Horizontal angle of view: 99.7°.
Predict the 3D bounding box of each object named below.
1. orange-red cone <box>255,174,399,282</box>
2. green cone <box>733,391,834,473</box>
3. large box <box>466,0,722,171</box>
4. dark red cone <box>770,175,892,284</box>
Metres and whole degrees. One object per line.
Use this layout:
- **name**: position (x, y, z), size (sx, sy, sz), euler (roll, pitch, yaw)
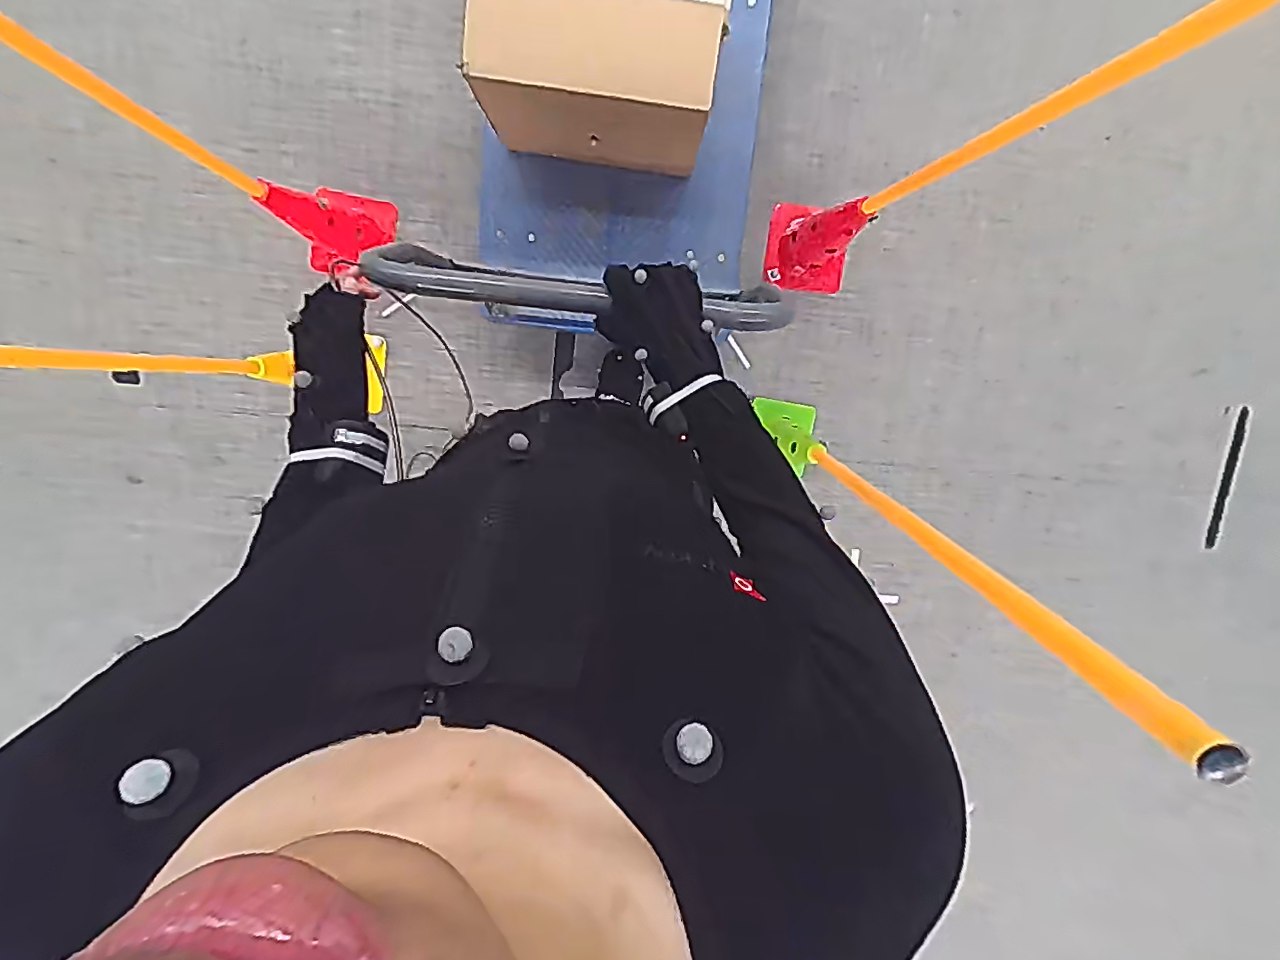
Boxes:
- **orange-red cone**: position (-0.704, -0.584, 1.177), size (0.198, 0.360, 0.199), euler (12, 99, -4)
- **green cone**: position (0.364, -0.094, 1.273), size (0.202, 0.368, 0.200), euler (9, 100, -3)
- **large box**: position (-0.066, -0.802, 0.992), size (0.408, 0.320, 0.320), euler (7, 101, -1)
- **dark red cone**: position (0.430, -0.564, 1.167), size (0.201, 0.394, 0.202), euler (5, 101, -3)
